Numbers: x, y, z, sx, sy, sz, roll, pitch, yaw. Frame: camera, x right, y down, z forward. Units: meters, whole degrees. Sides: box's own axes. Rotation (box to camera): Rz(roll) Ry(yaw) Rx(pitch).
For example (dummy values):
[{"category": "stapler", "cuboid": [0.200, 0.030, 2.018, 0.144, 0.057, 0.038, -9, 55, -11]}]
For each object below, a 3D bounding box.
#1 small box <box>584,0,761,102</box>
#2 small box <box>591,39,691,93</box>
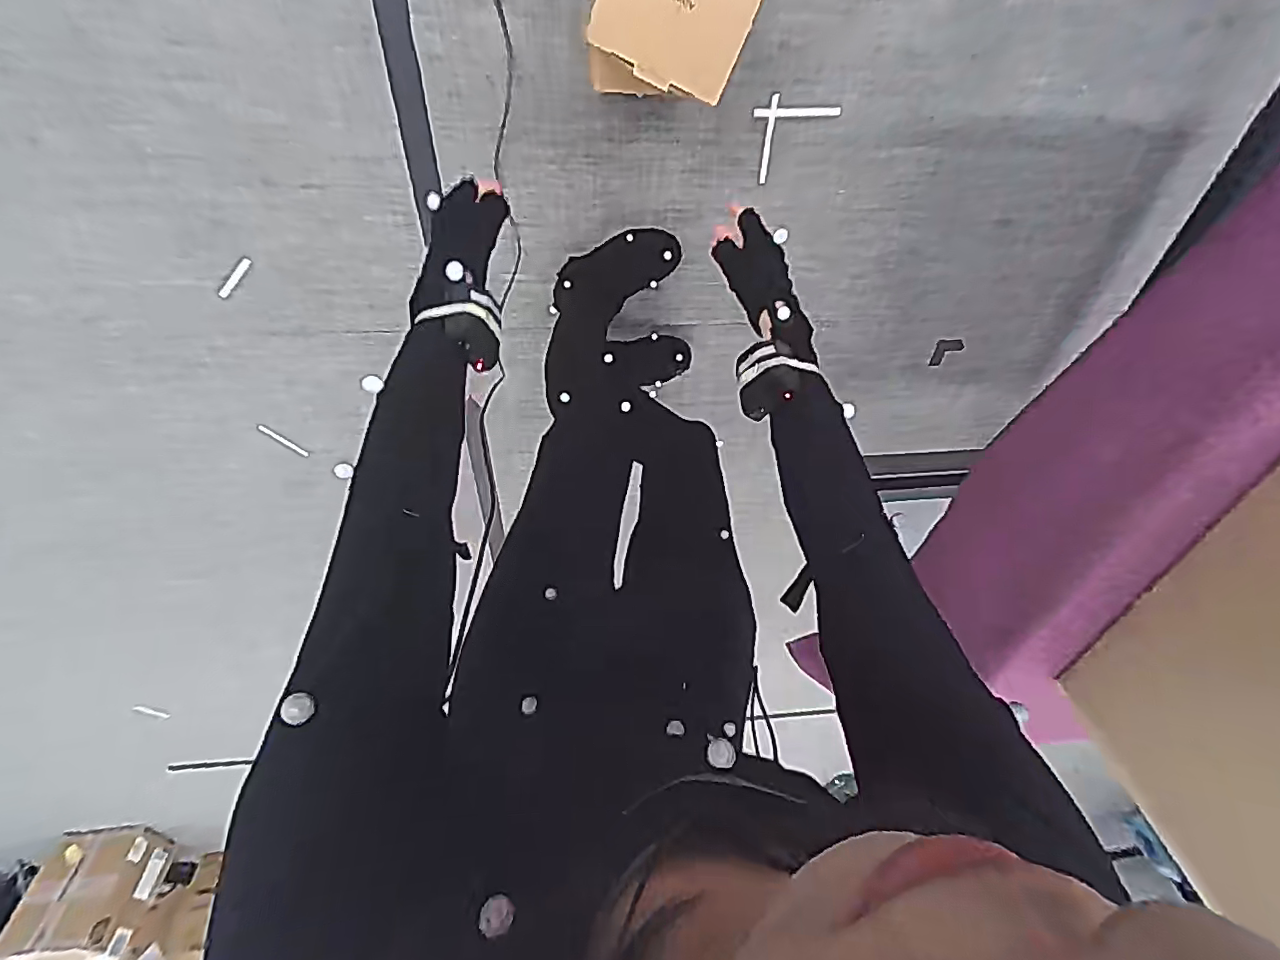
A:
[{"category": "small box", "cuboid": [0.041, -0.570, 0.610, 0.168, 0.176, 0.179, 13, 128, -20]}, {"category": "small box", "cuboid": [0.017, -0.656, 0.749, 0.168, 0.176, 0.179, -1, 133, -6]}]
